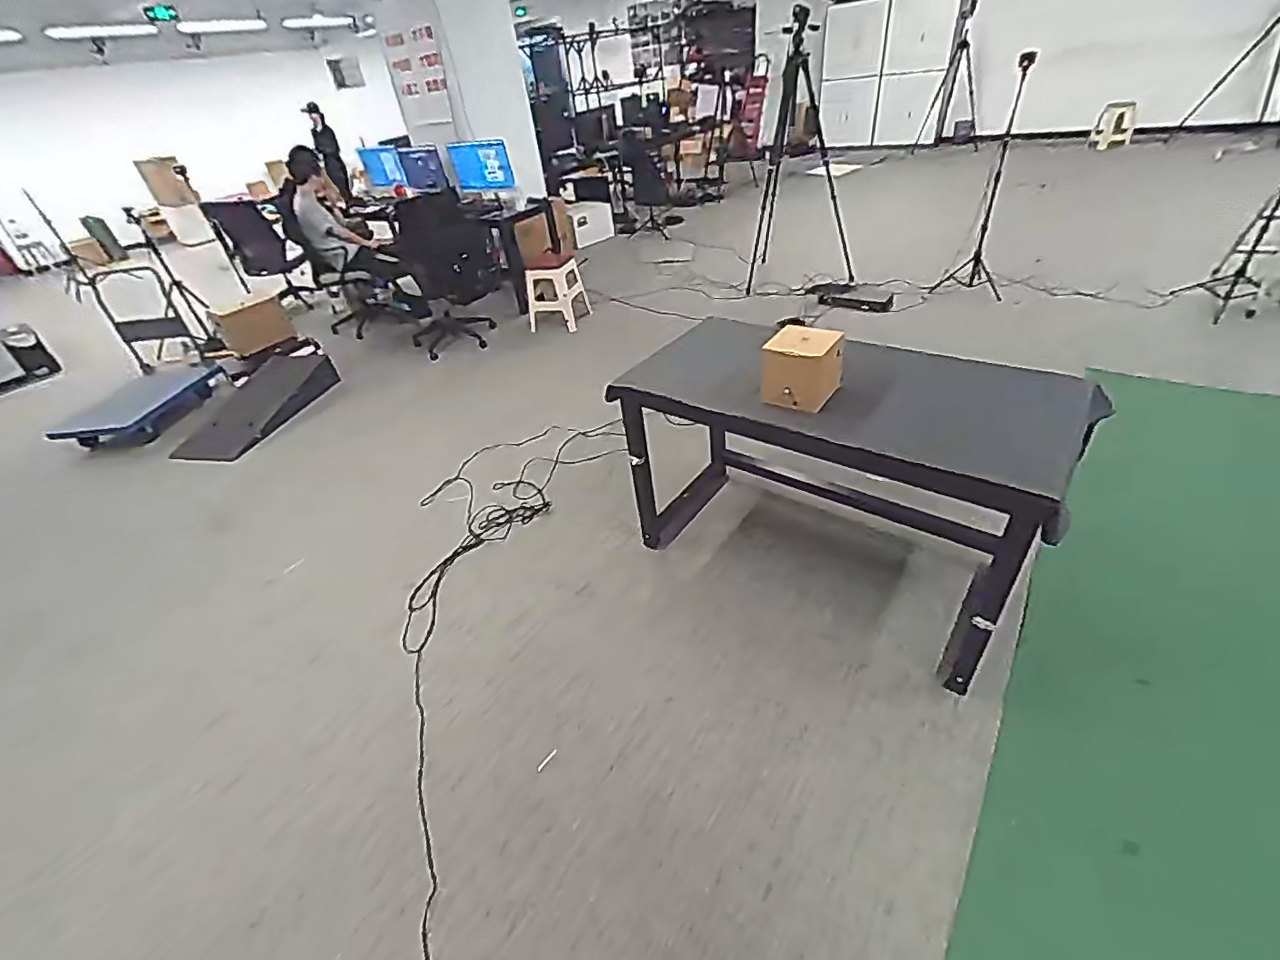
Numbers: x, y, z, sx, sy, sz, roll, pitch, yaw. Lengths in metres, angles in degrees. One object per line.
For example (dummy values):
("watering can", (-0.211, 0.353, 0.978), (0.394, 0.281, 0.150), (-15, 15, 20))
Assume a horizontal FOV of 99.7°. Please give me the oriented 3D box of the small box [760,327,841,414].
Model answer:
("small box", (0.444, -0.308, 1.511), (0.168, 0.176, 0.179), (19, 44, 31))
